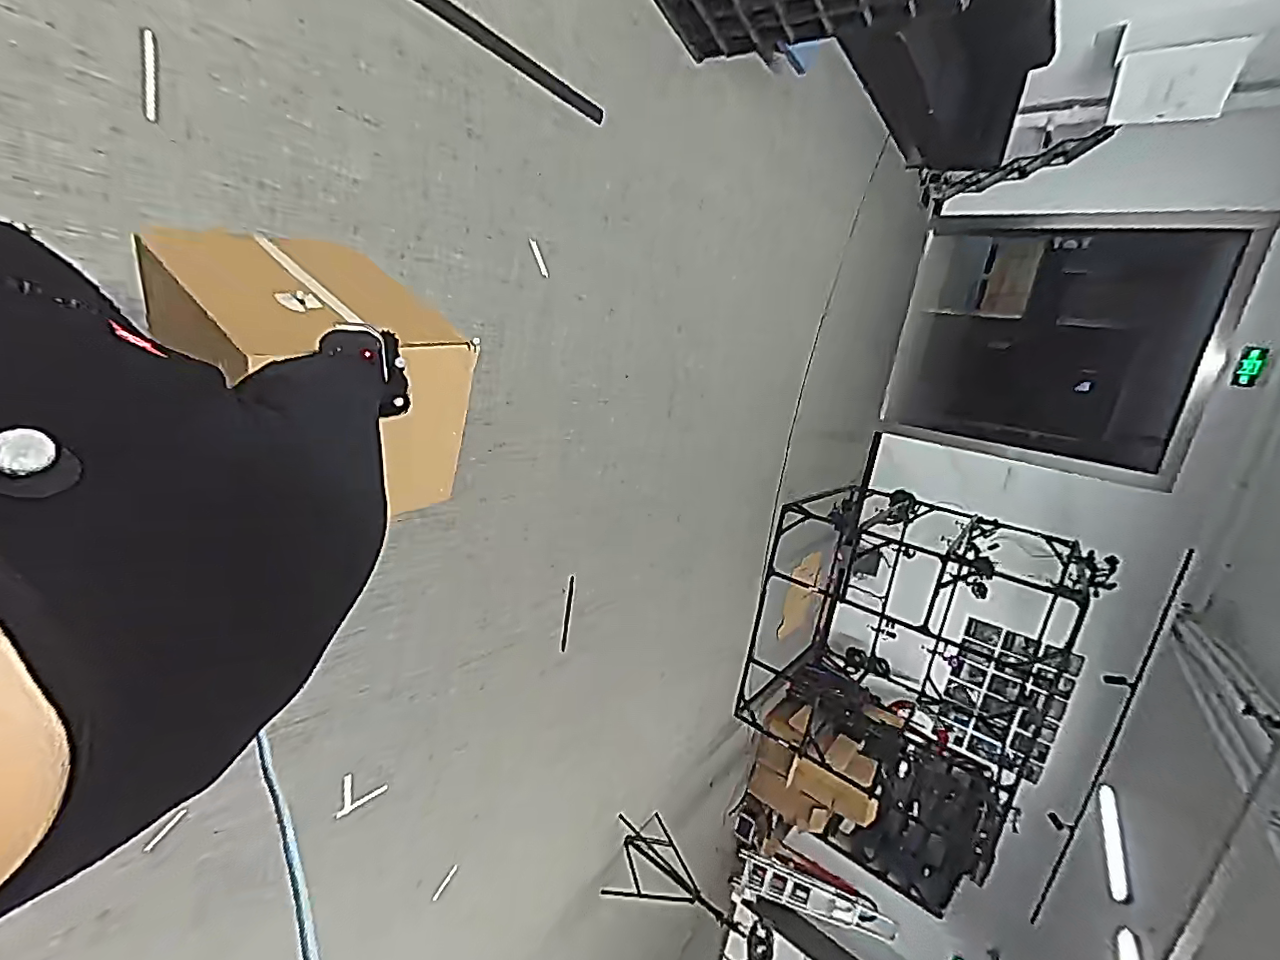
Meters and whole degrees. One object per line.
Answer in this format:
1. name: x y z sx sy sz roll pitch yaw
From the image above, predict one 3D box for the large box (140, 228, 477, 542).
1. large box: -0.543 -0.169 0.897 0.320 0.408 0.320 -22 144 -48
